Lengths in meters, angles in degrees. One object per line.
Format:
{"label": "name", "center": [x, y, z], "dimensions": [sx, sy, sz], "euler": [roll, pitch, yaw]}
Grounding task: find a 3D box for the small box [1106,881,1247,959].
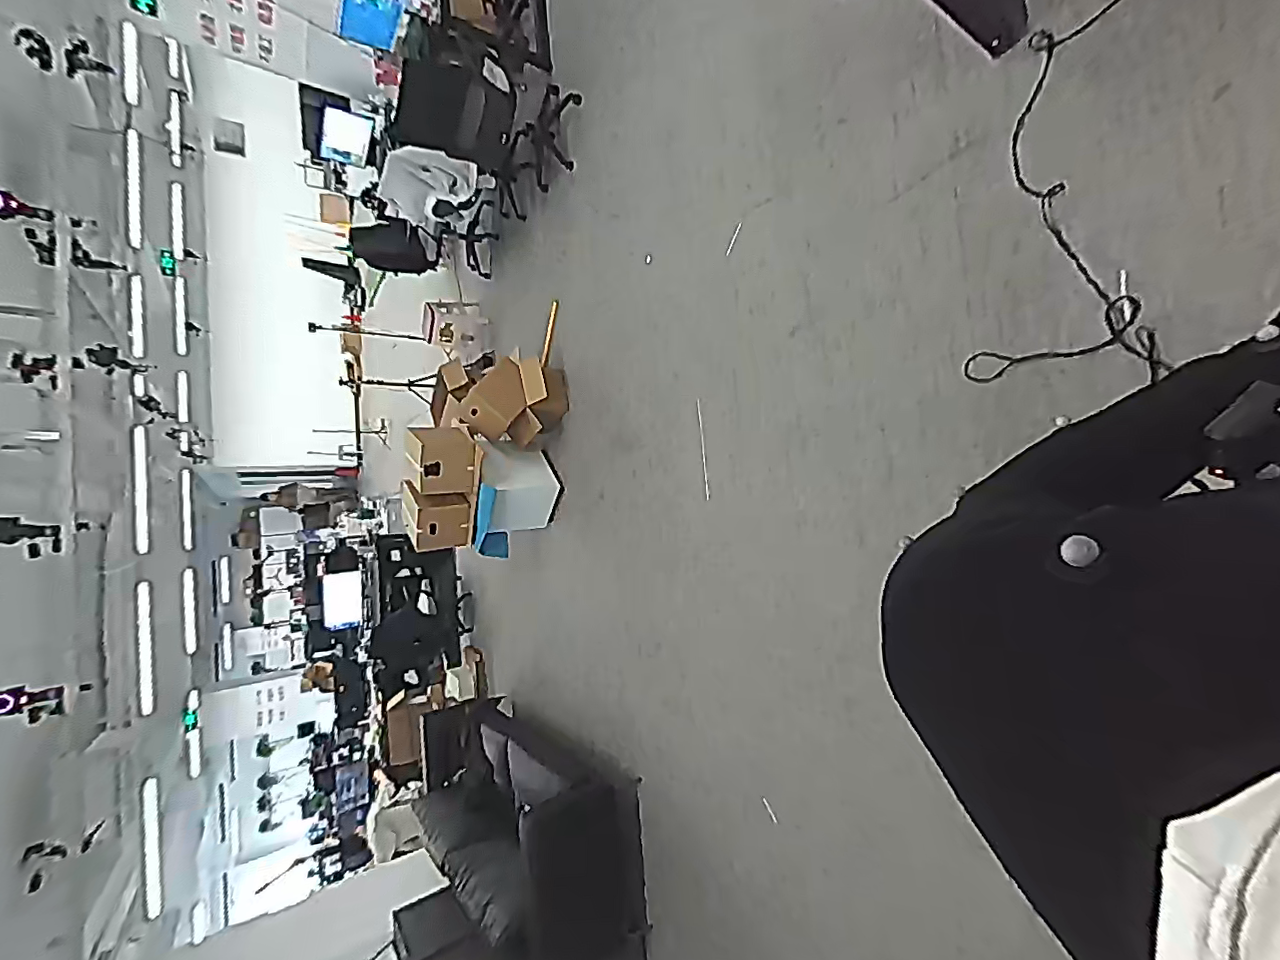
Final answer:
{"label": "small box", "center": [1.015, 0.920, 1.021], "dimensions": [0.168, 0.176, 0.179], "euler": [-3, 89, 55]}
